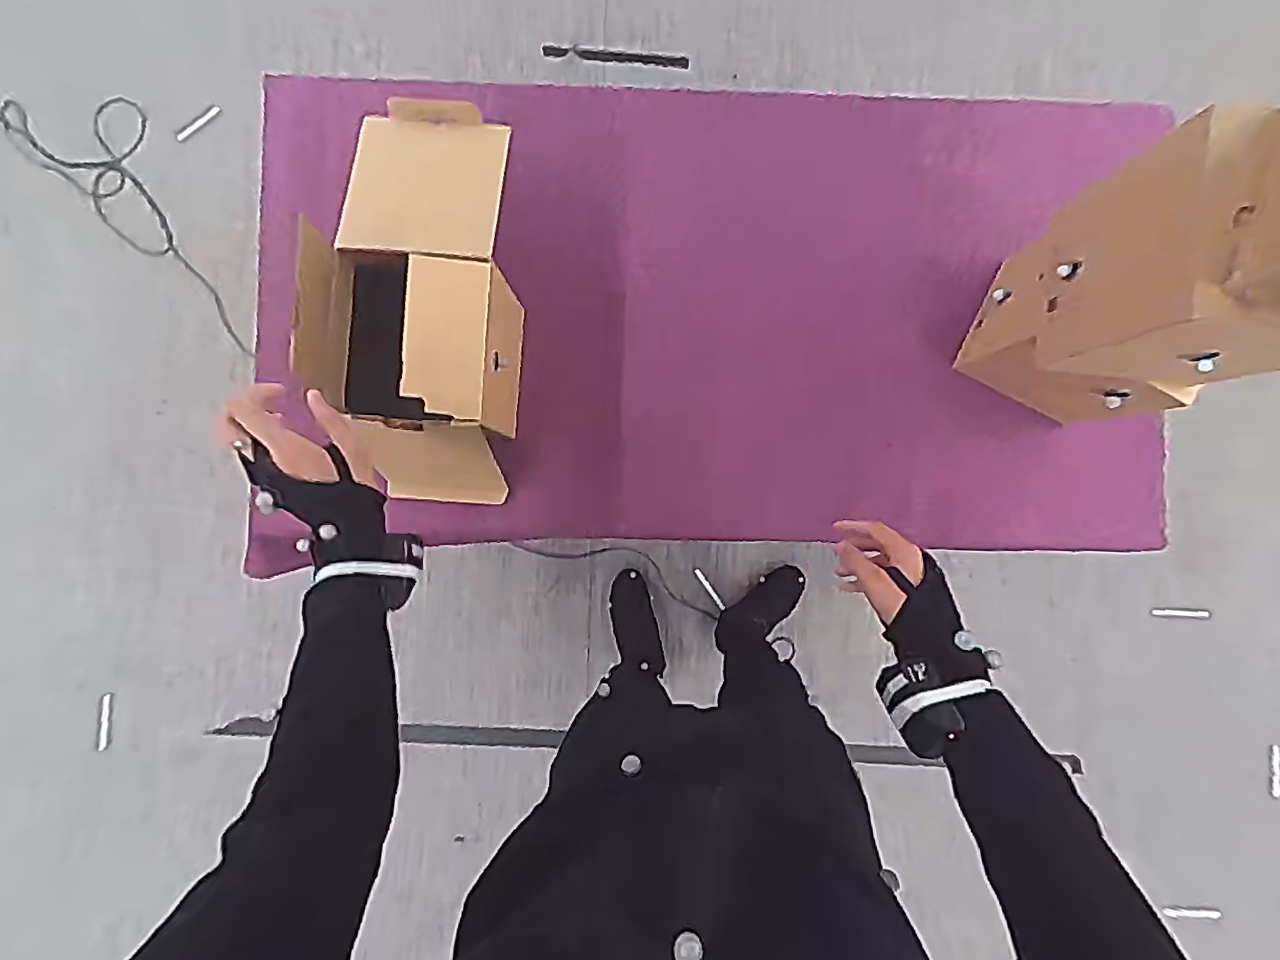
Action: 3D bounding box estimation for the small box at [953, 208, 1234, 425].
[{"bbox_3d":[0.530,-0.178,0.650,0.179,0.176,0.168,28,88,1],"label":"small box"}]

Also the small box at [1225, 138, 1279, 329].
[{"bbox_3d":[0.529,-0.183,0.321,0.168,0.176,0.179,23,90,2],"label":"small box"}]
